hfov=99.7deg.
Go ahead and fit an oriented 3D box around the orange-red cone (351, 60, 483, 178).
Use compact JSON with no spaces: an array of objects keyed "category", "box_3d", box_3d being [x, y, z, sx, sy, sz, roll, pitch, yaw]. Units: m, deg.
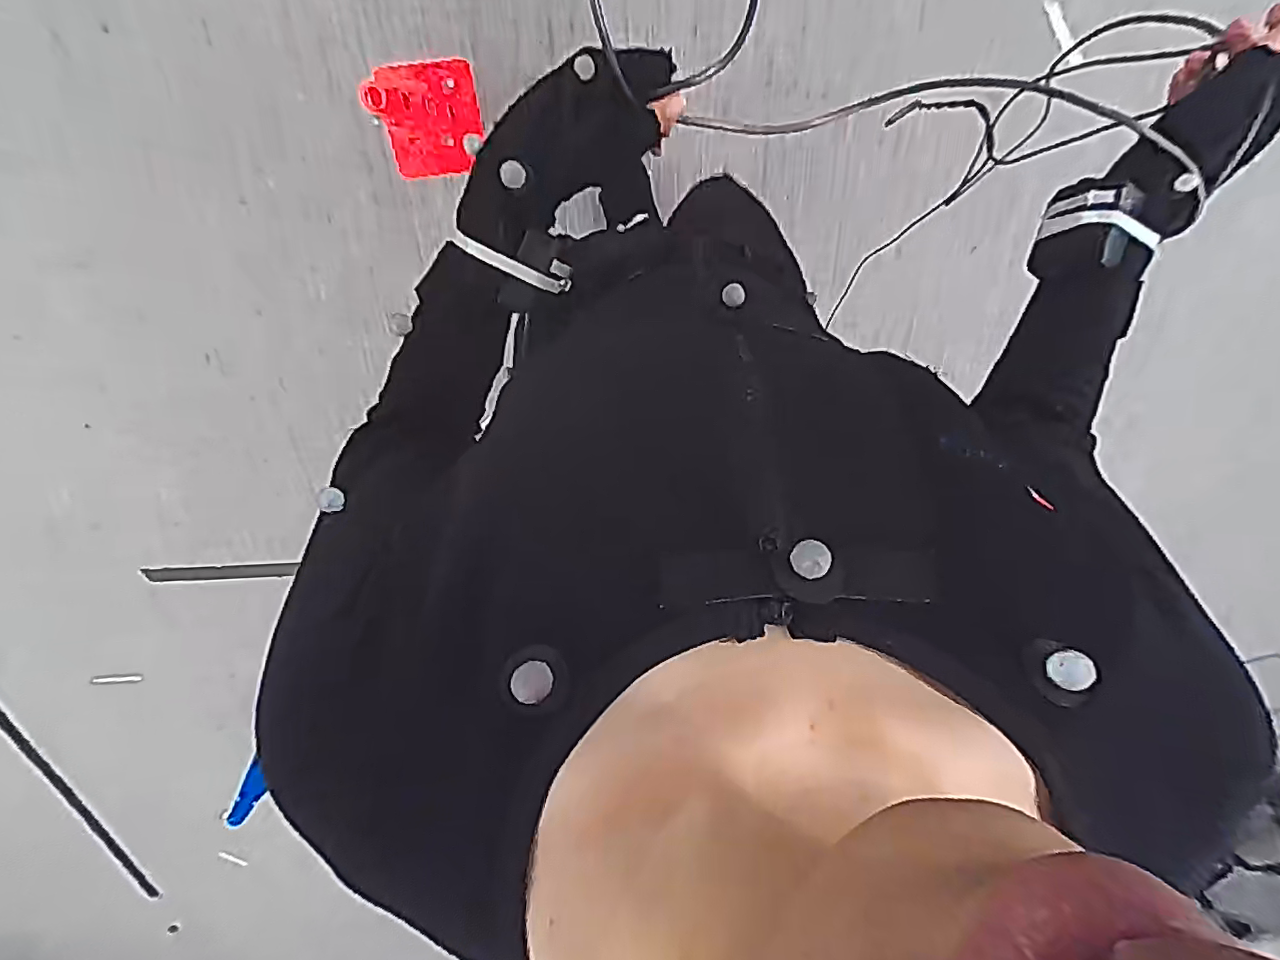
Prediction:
[{"category":"orange-red cone","box_3d":[-0.429,-0.666,0.971,0.199,0.360,0.198,-6,118,0]}]
